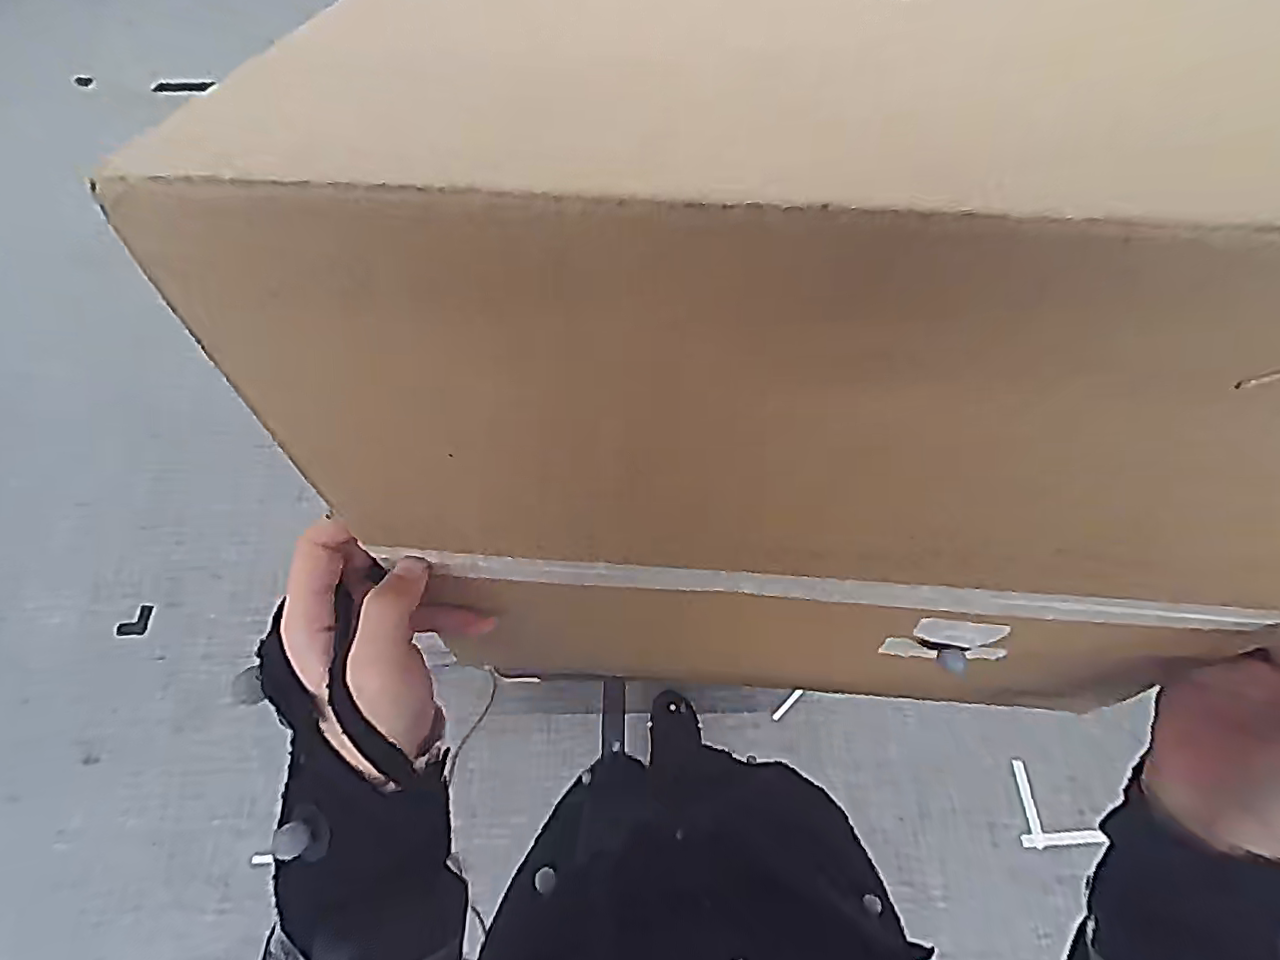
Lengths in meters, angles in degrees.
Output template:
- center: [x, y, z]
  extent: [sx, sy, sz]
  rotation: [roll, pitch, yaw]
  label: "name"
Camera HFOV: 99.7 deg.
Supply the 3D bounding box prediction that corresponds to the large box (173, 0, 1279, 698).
- center: [0.088, -0.077, 0.331]
  extent: [0.408, 0.320, 0.320]
  rotation: [3, 54, 2]
  label: "large box"
